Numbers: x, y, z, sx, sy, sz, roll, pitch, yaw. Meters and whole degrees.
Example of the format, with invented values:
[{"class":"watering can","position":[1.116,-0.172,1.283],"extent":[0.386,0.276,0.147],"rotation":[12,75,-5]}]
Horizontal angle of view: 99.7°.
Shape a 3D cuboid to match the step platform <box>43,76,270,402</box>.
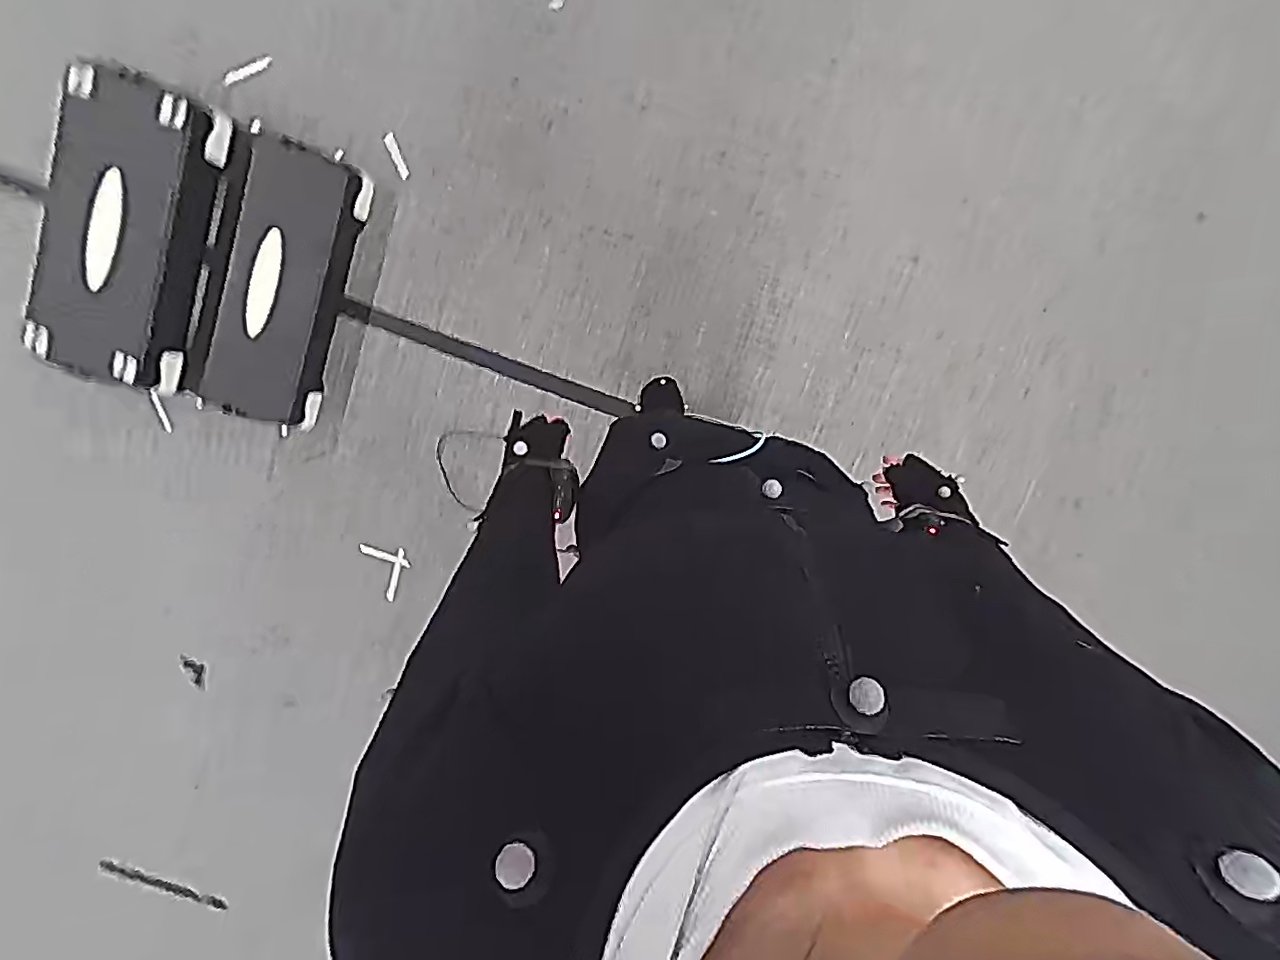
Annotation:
[{"class":"step platform","position":[-1.138,-0.536,1.280],"extent":[0.286,0.204,0.684],"rotation":[18,98,-3]}]
